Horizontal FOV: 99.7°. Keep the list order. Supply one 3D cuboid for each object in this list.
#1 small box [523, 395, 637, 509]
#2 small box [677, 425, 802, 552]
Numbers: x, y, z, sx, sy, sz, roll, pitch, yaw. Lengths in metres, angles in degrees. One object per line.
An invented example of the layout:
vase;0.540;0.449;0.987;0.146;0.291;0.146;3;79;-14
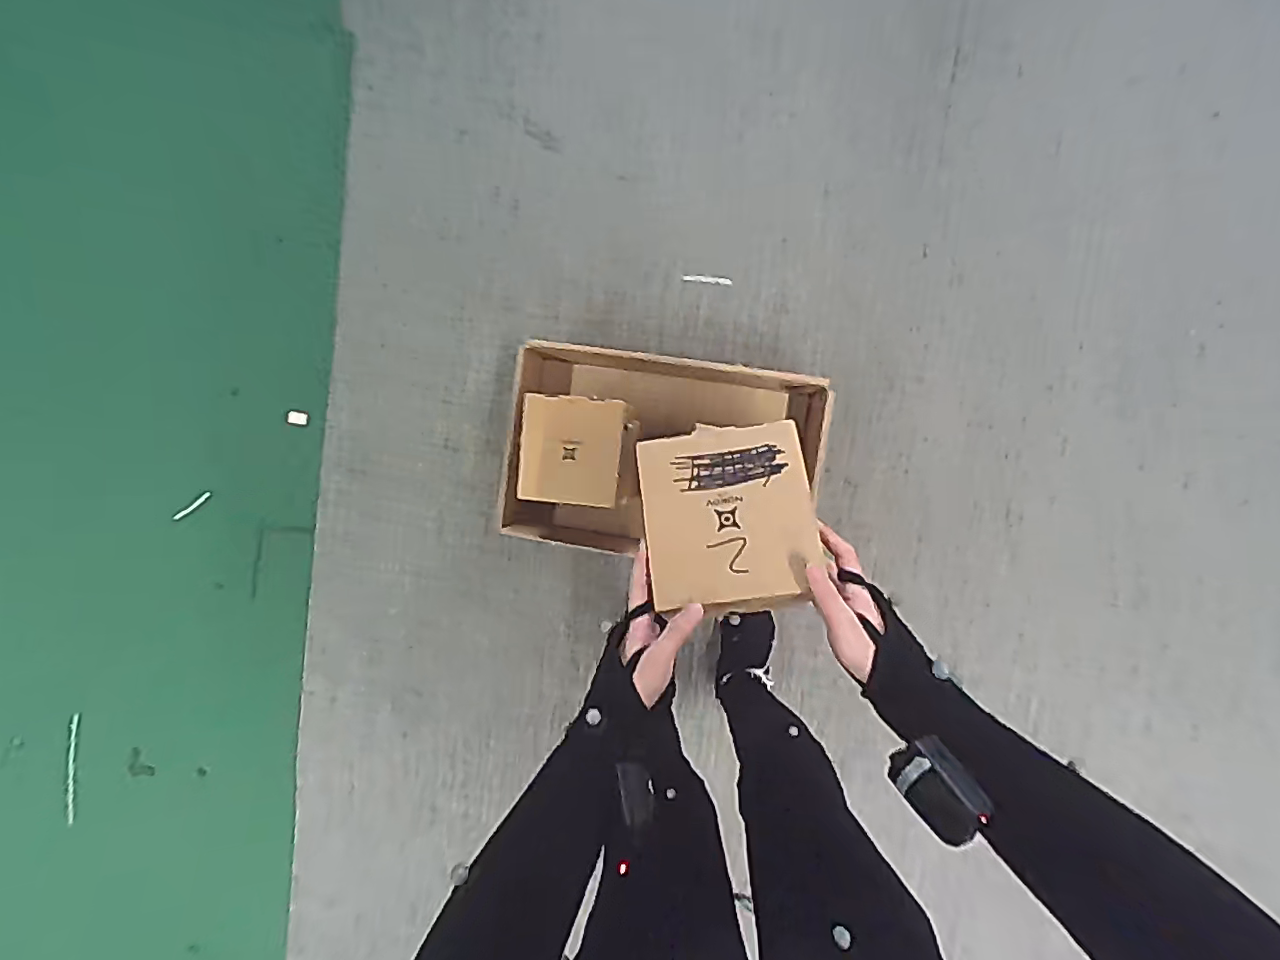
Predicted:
small box;-0.099;-0.051;0.965;0.168;0.176;0.179;5;94;6
small box;0.166;0.009;0.934;0.168;0.176;0.179;12;95;5
